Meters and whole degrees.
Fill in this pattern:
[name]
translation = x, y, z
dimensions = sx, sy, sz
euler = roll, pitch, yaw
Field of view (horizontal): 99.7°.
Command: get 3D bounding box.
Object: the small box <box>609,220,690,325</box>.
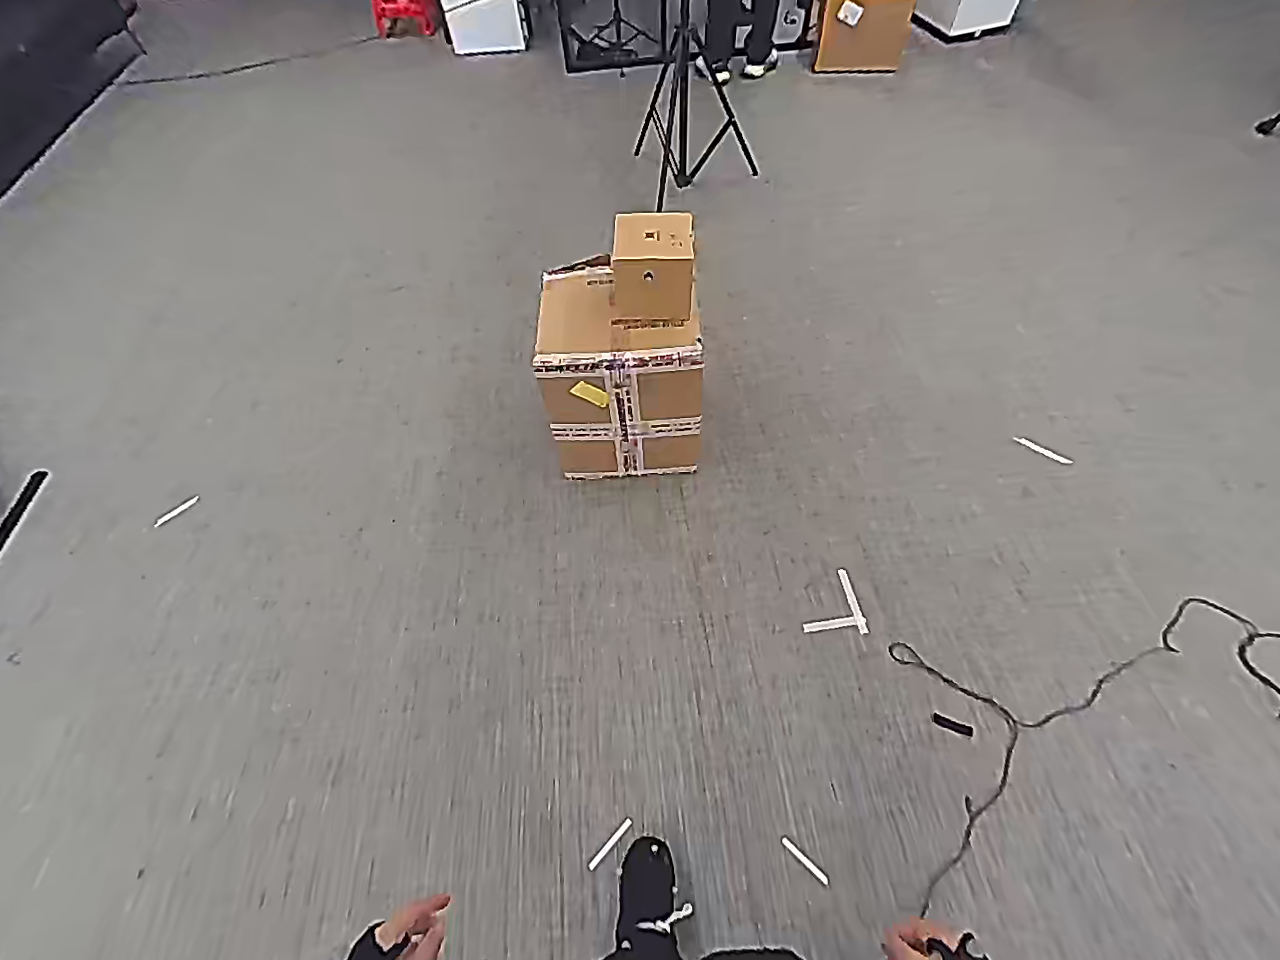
[small box]
translation = 0.025, -0.475, 1.253
dimensions = 0.179, 0.176, 0.168
euler = 0, 59, 2
